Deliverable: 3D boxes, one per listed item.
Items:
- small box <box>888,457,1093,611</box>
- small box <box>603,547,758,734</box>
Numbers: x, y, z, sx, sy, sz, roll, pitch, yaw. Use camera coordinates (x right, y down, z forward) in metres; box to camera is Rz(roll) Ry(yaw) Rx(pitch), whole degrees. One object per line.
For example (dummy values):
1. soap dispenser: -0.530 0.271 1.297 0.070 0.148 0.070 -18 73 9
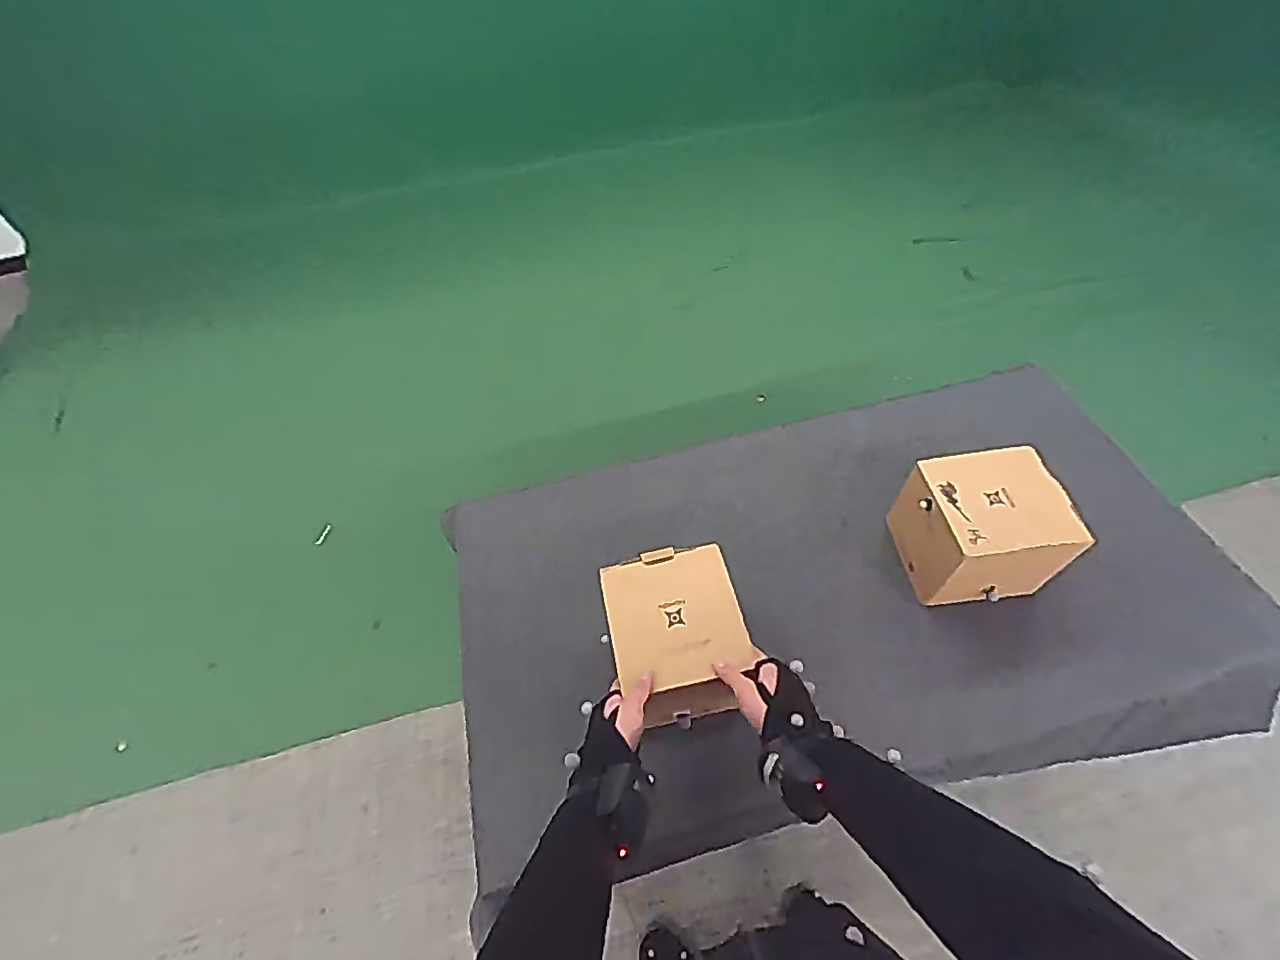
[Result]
1. small box: 0.514 0.087 0.826 0.179 0.176 0.168 -6 54 0
2. small box: 0.048 0.216 0.722 0.168 0.176 0.179 -11 53 -1
